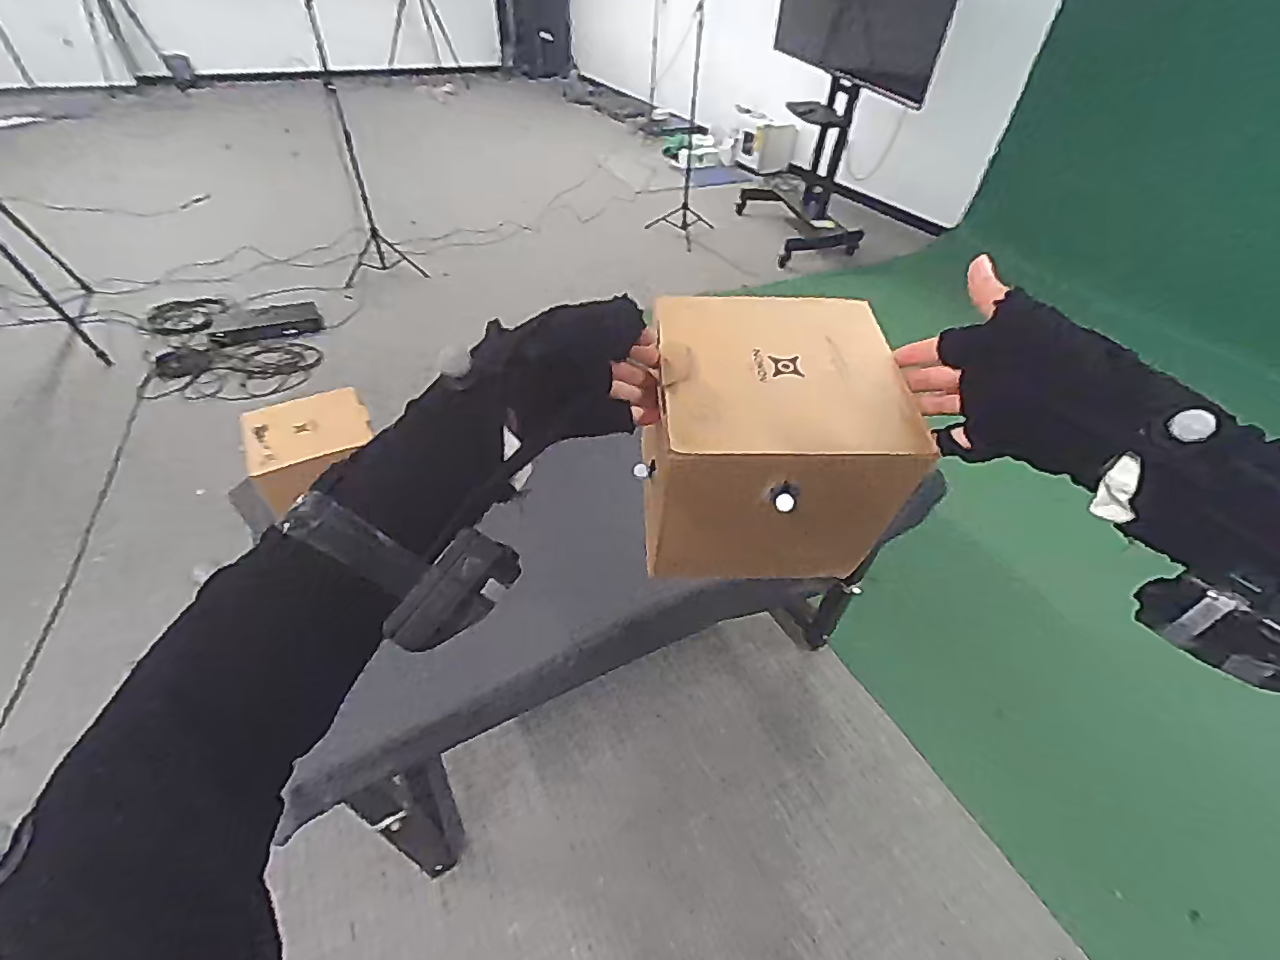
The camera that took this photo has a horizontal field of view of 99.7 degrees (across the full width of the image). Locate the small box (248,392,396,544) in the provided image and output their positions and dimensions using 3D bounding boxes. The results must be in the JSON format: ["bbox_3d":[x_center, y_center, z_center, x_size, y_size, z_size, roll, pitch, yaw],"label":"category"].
[{"bbox_3d":[-0.533,-0.021,0.926,0.179,0.176,0.168,-20,50,-24],"label":"small box"}]

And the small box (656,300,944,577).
[{"bbox_3d":[0.105,-0.029,0.454,0.179,0.176,0.168,1,53,-4],"label":"small box"}]
